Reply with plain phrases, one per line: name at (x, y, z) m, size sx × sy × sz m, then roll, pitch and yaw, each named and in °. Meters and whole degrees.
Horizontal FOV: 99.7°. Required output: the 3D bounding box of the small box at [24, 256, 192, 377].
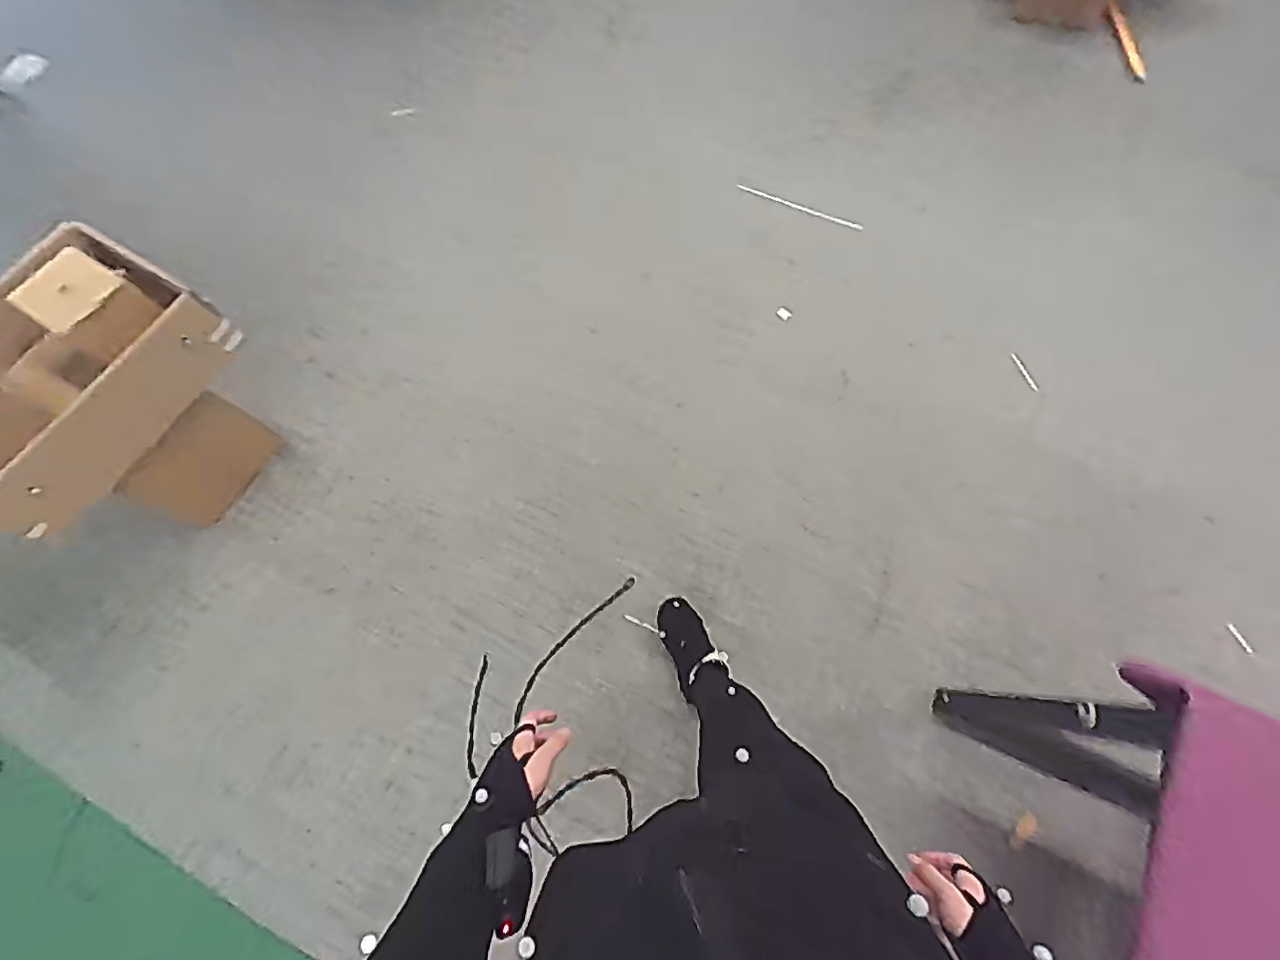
small box at (-1.199, -0.364, 1.233) m, size 0.179 × 0.176 × 0.168 m, roll 30°, pitch 74°, yaw 10°
